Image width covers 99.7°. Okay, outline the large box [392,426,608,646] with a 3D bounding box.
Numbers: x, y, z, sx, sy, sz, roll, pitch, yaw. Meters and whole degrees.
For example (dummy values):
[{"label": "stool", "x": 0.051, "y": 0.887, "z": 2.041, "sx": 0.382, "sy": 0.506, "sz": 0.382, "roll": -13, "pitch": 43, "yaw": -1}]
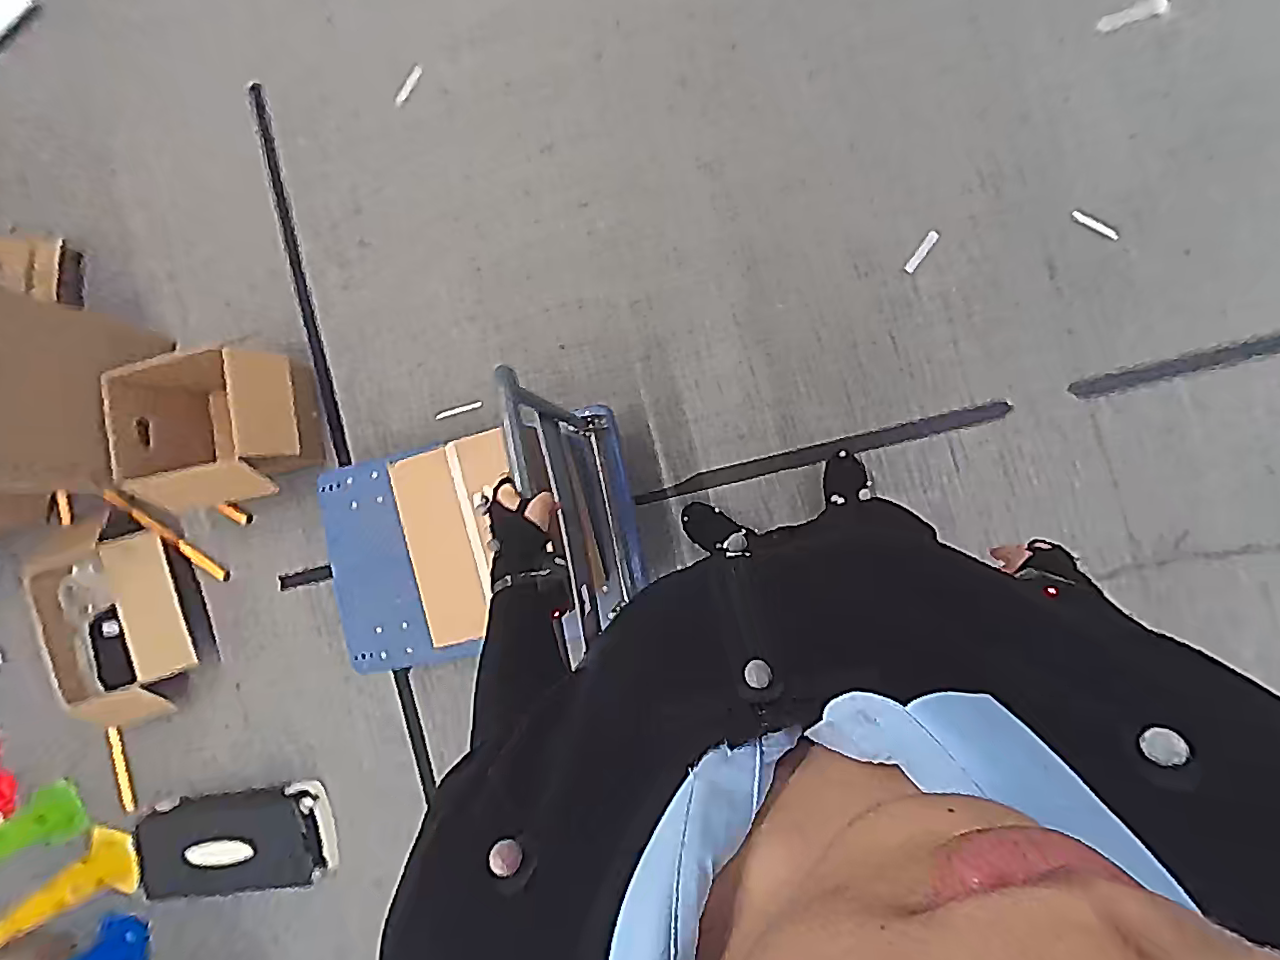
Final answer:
[{"label": "large box", "x": -0.305, "y": 0.122, "z": 1.266, "sx": 0.320, "sy": 0.320, "sz": 0.408, "roll": -17, "pitch": 86, "yaw": 9}]
